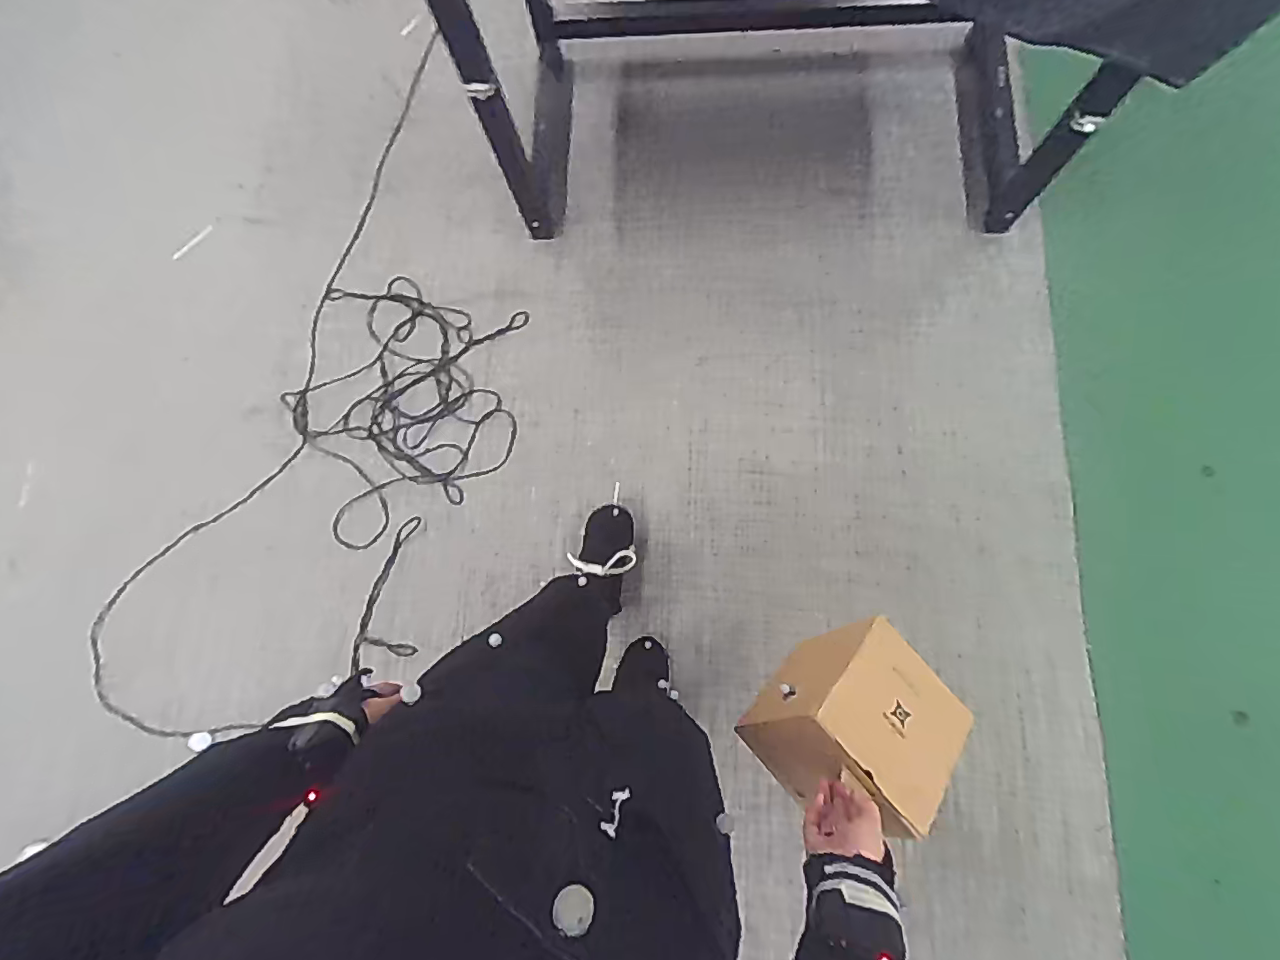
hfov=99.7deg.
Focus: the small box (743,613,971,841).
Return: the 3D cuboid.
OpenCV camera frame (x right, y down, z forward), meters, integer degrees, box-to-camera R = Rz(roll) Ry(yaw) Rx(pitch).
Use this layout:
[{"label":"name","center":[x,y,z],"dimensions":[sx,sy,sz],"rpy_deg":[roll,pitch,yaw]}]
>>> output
[{"label":"small box","center":[0.253,0.298,0.662],"dimensions":[0.179,0.176,0.168],"rpy_deg":[-36,83,-37]}]
